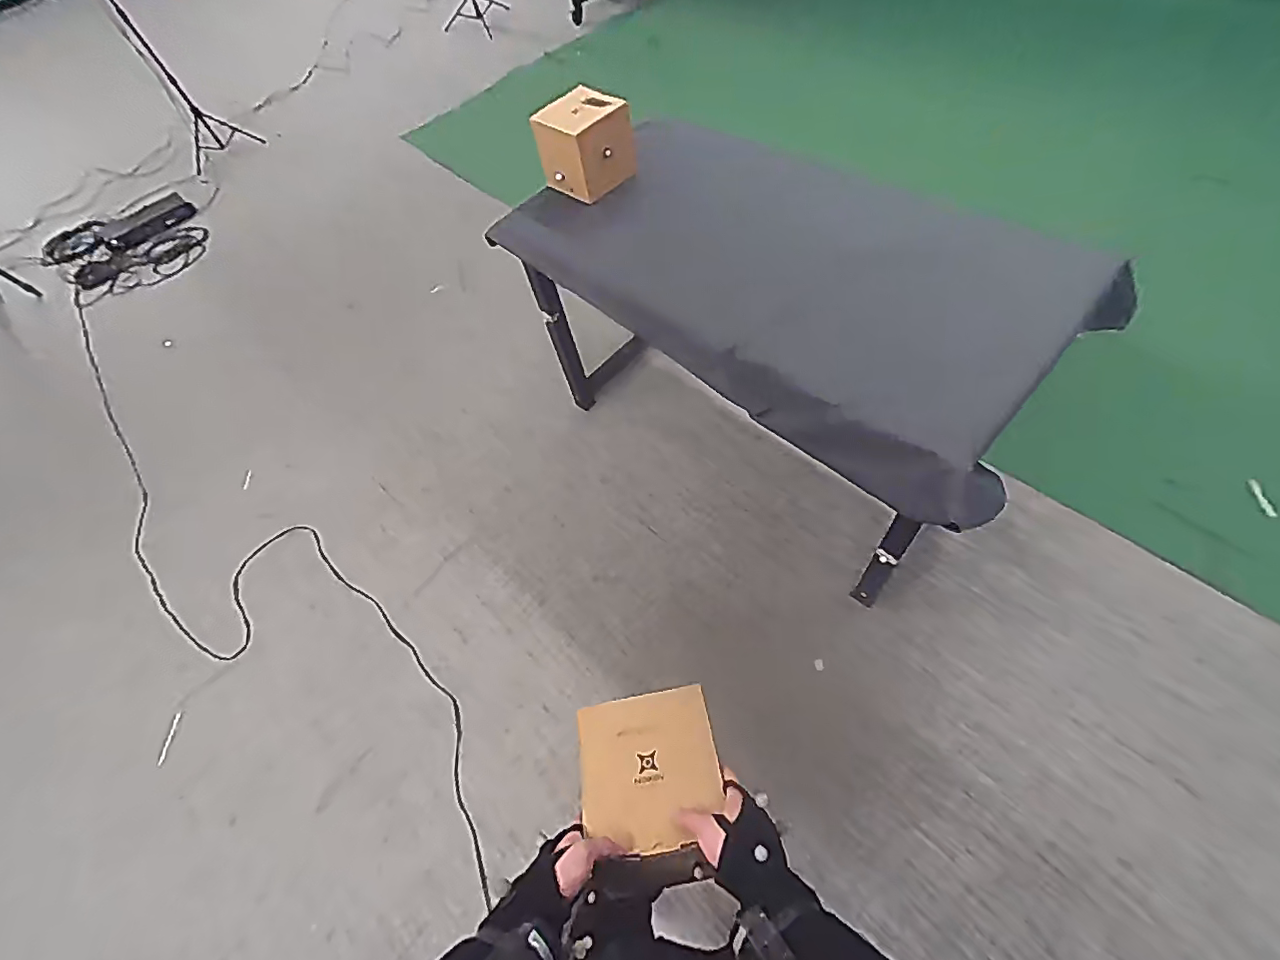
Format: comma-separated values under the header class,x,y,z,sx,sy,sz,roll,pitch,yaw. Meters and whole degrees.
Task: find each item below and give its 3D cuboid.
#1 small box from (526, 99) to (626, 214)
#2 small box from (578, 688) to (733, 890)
class,x,y,z,sx,sy,sz,roll,pitch,yaw
small box,-0.150,-0.806,1.351,0.168,0.176,0.179,36,70,26
small box,0.020,0.404,0.701,0.168,0.176,0.179,-11,42,-2
